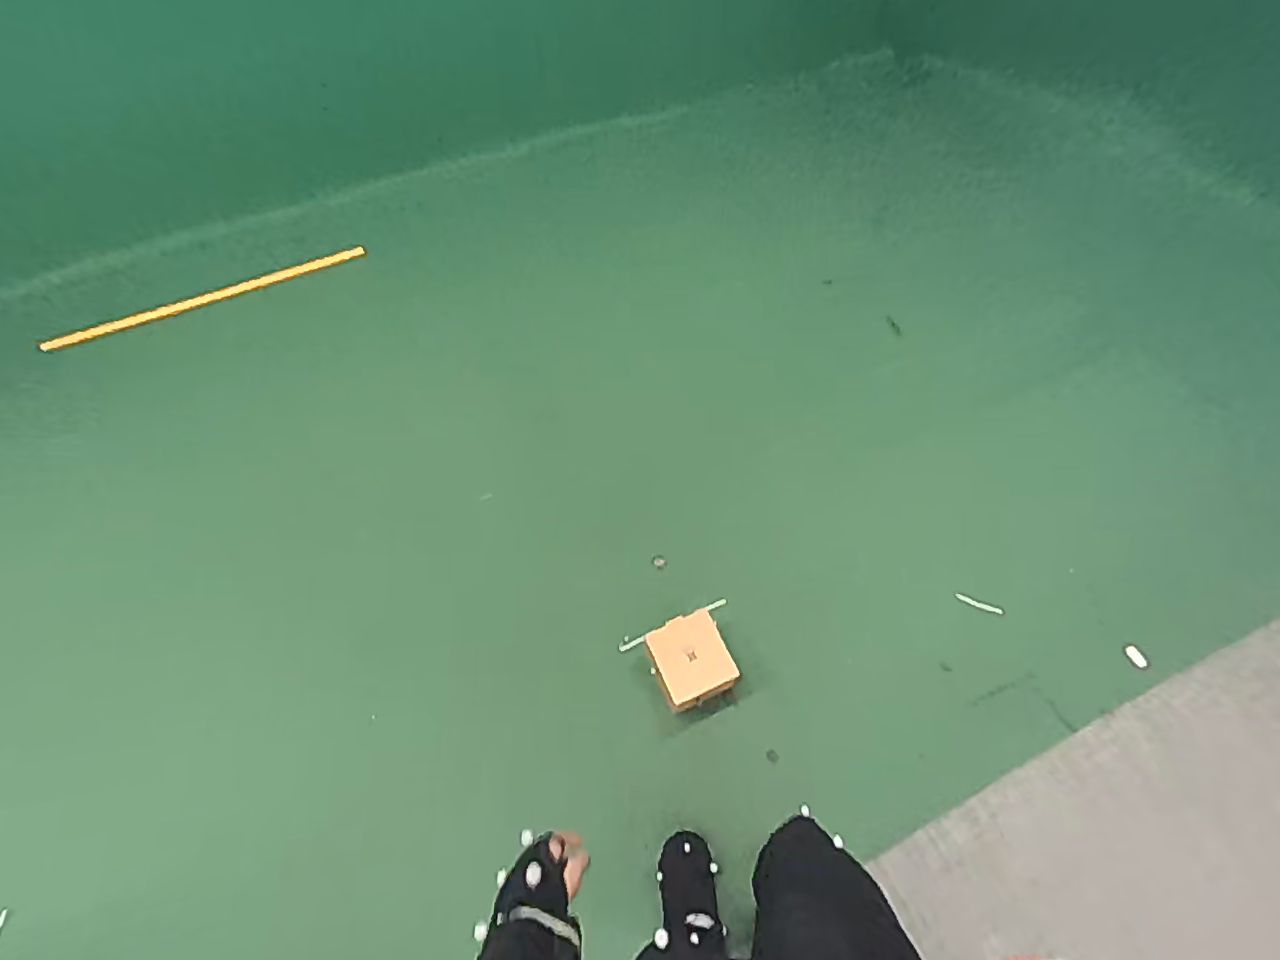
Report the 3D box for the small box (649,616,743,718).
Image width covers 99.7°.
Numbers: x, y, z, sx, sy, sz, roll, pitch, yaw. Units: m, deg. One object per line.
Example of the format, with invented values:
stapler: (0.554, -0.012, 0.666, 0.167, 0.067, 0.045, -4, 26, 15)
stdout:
small box: (0.135, 0.464, 1.321, 0.168, 0.176, 0.179, -23, 59, -10)
